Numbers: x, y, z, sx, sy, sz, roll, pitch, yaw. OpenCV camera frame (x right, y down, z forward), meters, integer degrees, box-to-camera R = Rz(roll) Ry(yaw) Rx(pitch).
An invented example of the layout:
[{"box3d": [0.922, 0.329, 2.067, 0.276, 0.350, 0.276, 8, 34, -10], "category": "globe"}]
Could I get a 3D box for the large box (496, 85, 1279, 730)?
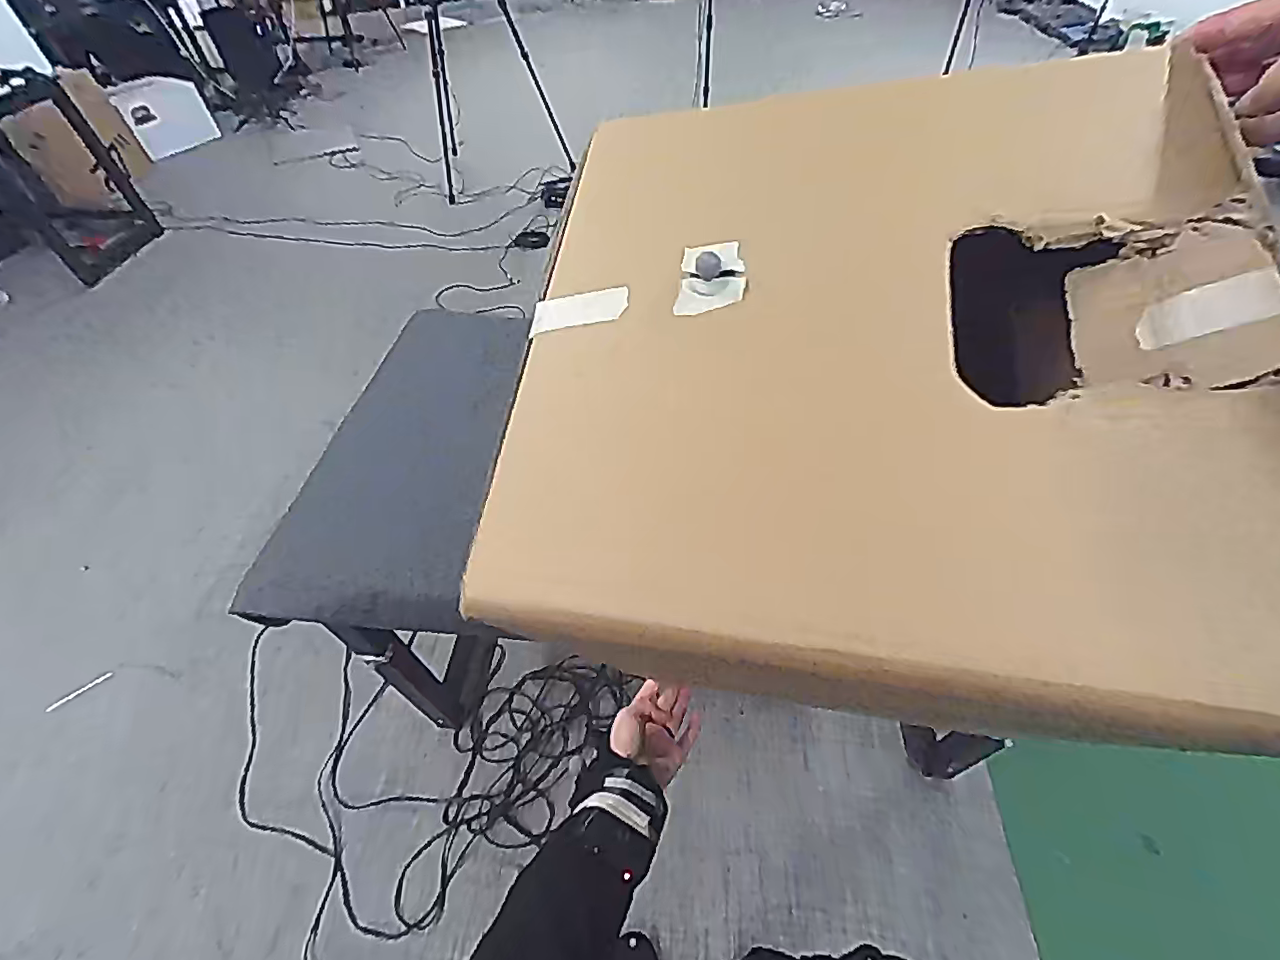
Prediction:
[{"box3d": [0.134, 0.001, 0.435, 0.320, 0.408, 0.320, 4, 68, 15], "category": "large box"}]
